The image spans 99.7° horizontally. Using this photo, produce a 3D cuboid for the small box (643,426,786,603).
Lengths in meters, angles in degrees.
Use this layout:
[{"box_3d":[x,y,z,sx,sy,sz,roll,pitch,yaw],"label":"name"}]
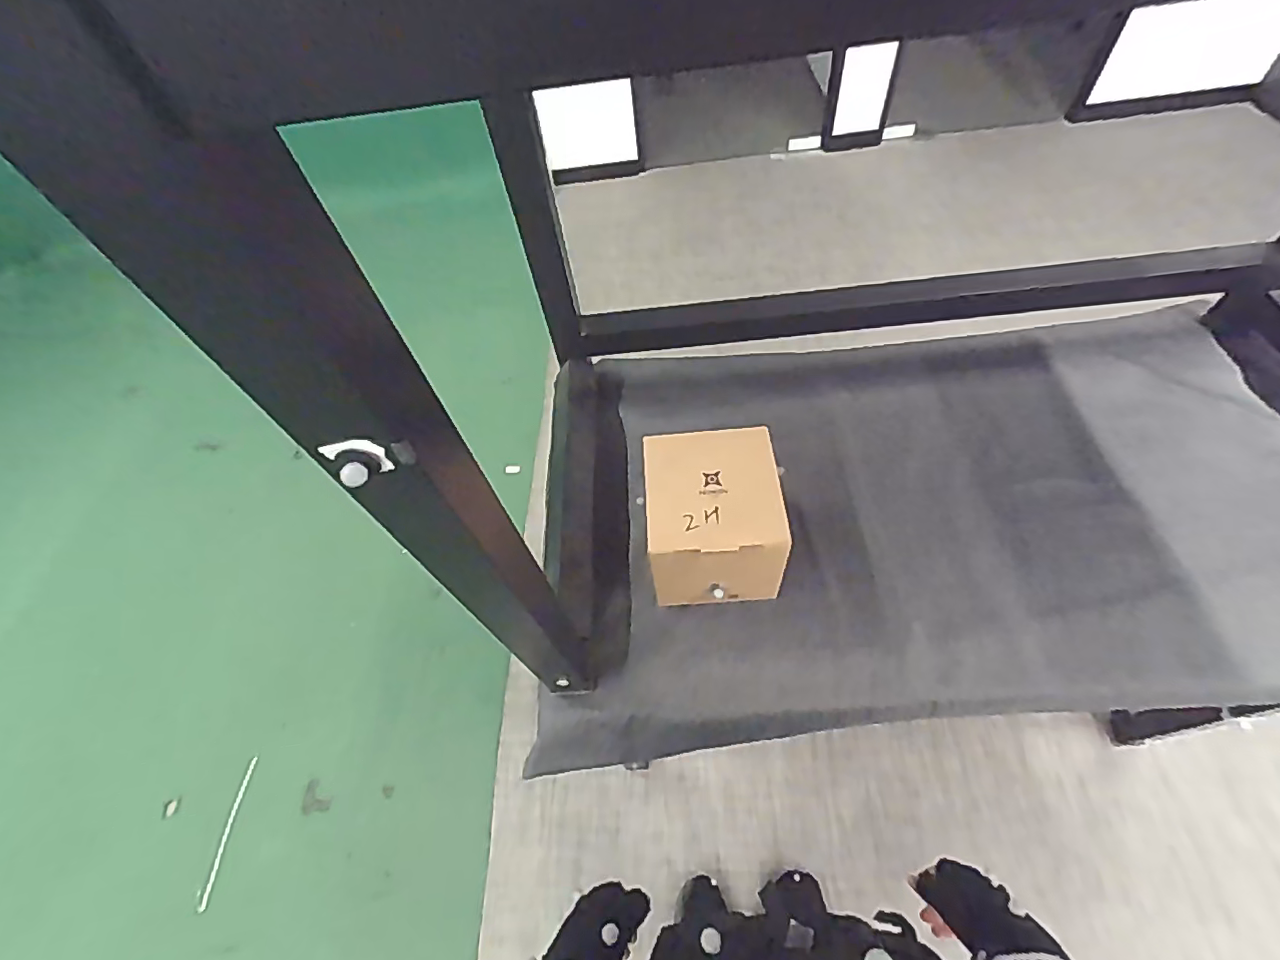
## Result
[{"box_3d":[0.092,0.050,0.731,0.168,0.176,0.179,-5,55,4],"label":"small box"}]
